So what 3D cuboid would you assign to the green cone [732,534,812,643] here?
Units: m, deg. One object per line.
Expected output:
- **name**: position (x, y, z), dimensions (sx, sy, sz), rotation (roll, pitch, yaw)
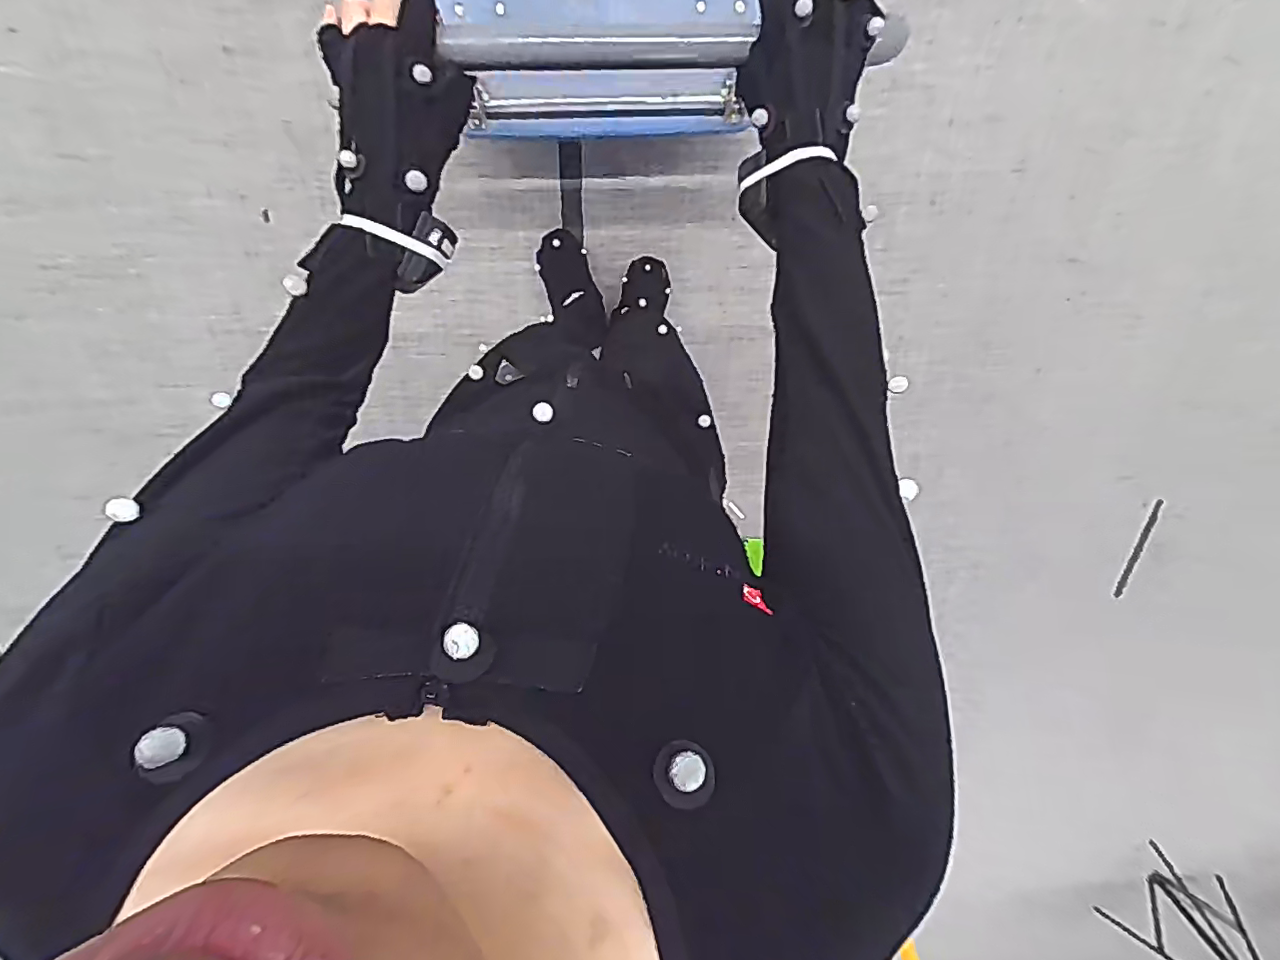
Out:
- **green cone**: position (0.415, 0.338, 1.582), dimensions (0.202, 0.368, 0.200), rotation (1, 117, -6)
